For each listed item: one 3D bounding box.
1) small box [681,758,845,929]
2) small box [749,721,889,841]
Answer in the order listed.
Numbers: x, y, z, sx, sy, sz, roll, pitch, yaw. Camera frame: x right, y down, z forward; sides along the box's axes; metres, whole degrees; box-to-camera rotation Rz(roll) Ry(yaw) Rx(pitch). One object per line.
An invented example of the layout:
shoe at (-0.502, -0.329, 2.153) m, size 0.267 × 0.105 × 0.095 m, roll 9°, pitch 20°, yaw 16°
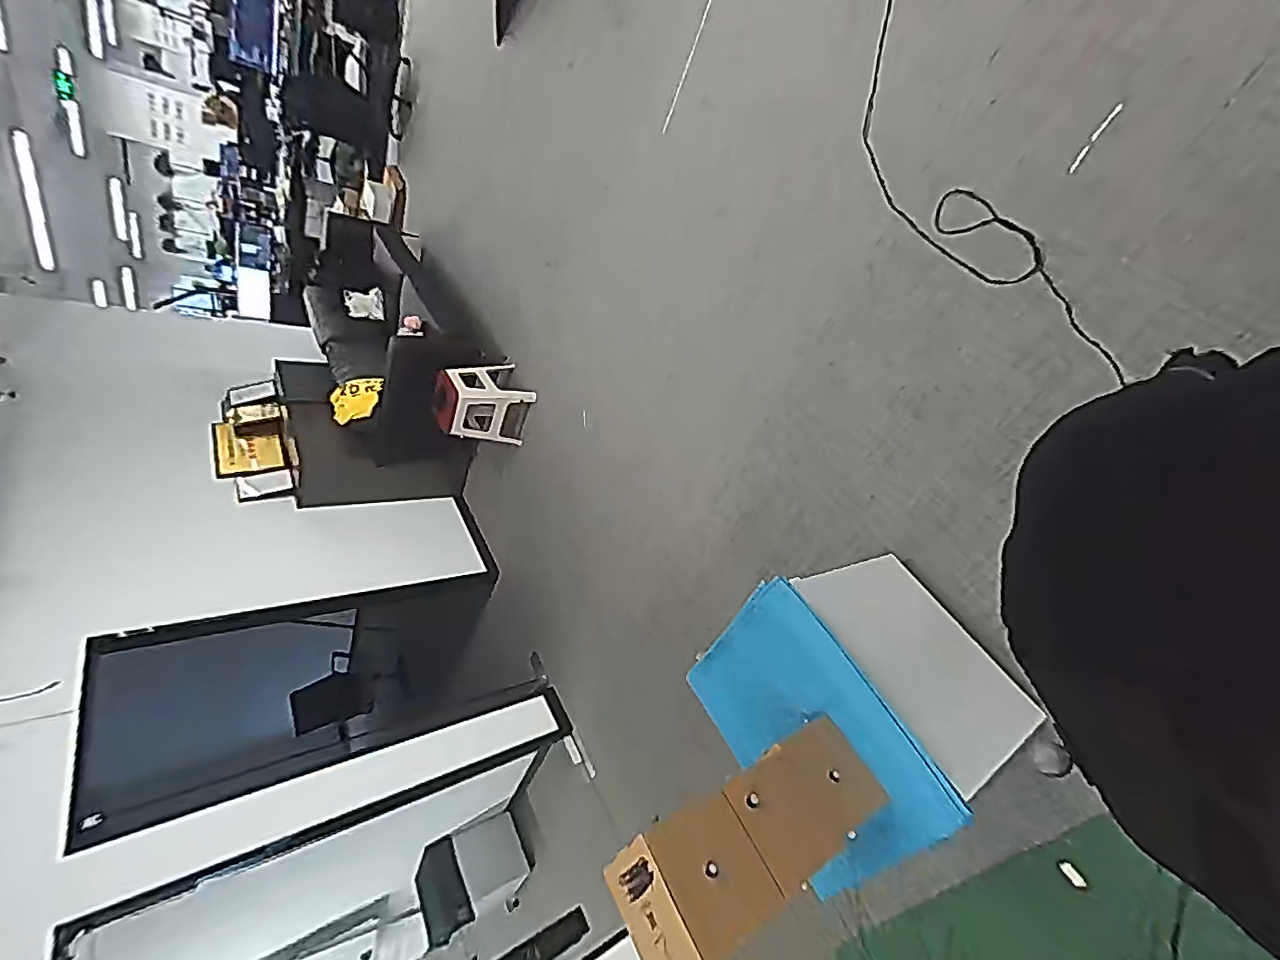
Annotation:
small box at (0.207, 0.608, 0.928) m, size 0.179 × 0.176 × 0.168 m, roll 53°, pitch 132°, yaw 34°
small box at (0.330, 0.591, 1.037) m, size 0.179 × 0.176 × 0.168 m, roll 52°, pitch 131°, yaw 33°
